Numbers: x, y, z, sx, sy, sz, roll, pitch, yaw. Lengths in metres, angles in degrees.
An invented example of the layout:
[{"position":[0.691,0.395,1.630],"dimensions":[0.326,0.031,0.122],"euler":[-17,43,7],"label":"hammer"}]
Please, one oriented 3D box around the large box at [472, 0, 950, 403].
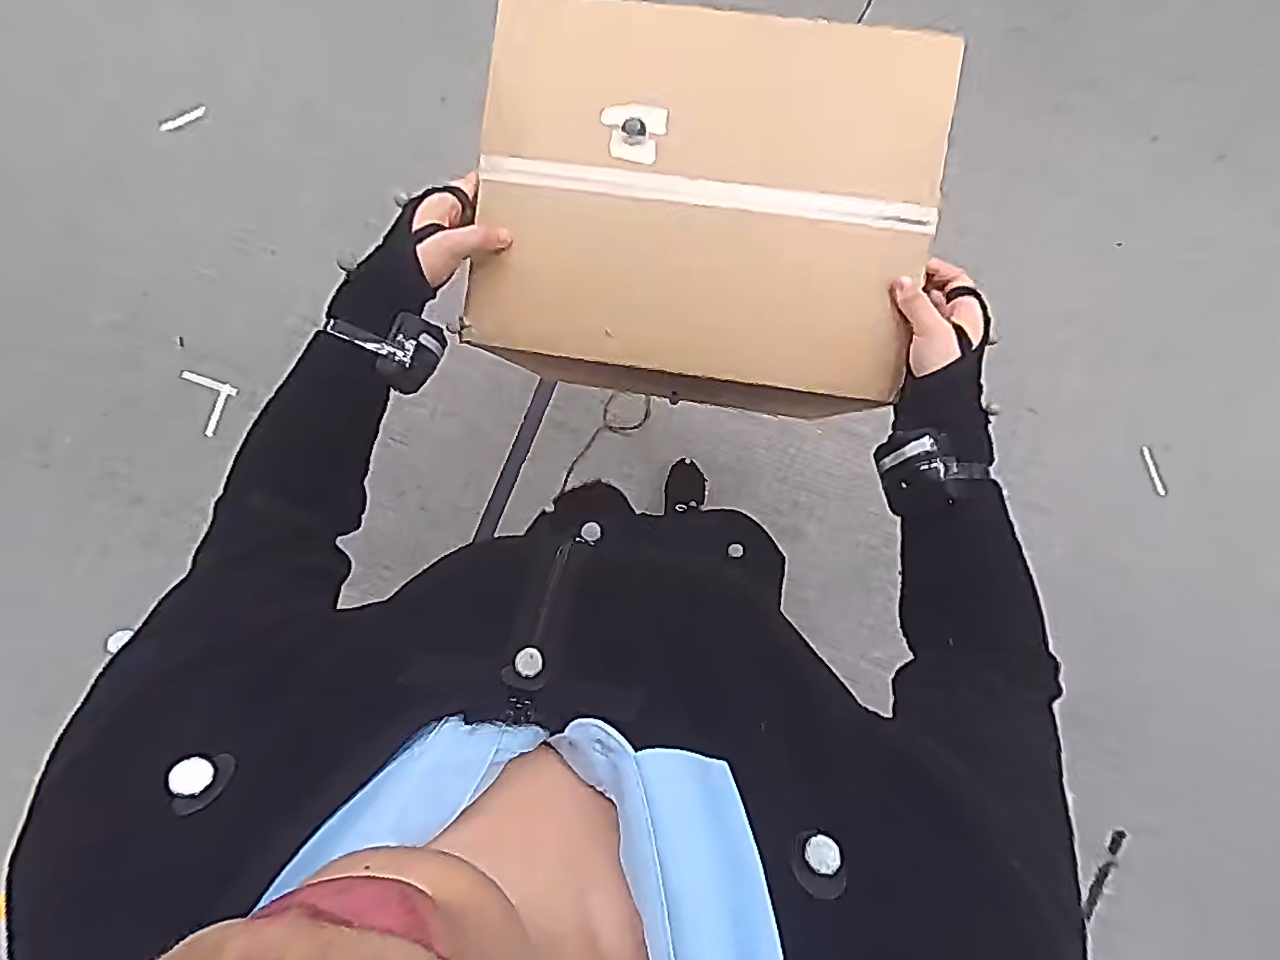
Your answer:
[{"position":[0.067,-0.272,0.636],"dimensions":[0.408,0.320,0.320],"euler":[8,94,5],"label":"large box"}]
